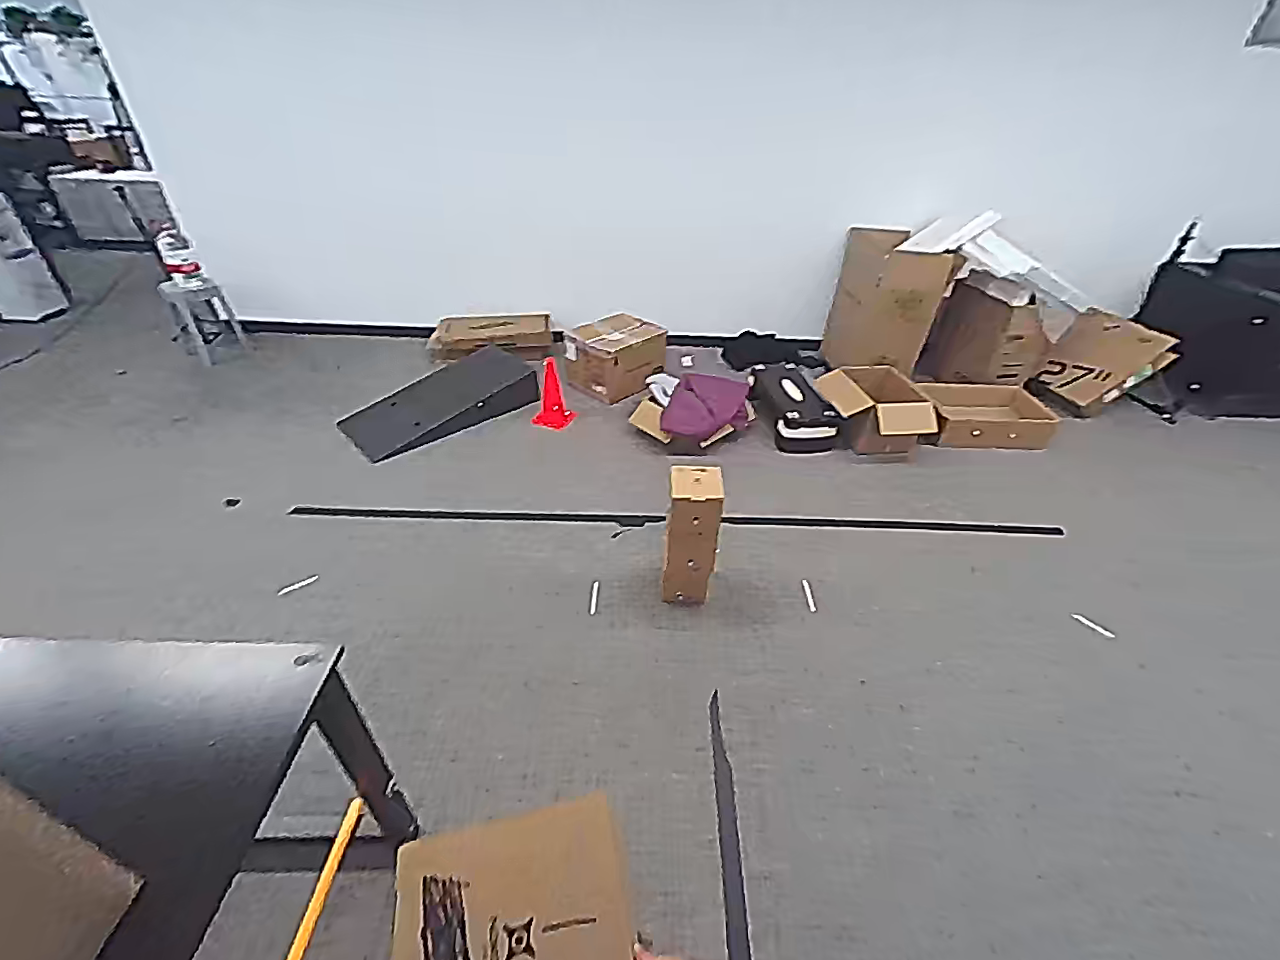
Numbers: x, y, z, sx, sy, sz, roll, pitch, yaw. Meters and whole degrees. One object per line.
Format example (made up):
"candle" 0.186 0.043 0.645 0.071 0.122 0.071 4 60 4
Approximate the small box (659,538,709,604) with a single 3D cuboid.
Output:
"small box" 0.158 0.336 1.994 0.168 0.176 0.179 1 38 0

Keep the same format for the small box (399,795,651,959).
"small box" -0.084 0.397 0.449 0.179 0.176 0.168 -12 44 -7

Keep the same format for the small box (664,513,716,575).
"small box" 0.170 0.208 1.889 0.168 0.176 0.179 1 36 0

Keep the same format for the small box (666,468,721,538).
"small box" 0.174 0.077 1.790 0.168 0.176 0.179 2 37 1
